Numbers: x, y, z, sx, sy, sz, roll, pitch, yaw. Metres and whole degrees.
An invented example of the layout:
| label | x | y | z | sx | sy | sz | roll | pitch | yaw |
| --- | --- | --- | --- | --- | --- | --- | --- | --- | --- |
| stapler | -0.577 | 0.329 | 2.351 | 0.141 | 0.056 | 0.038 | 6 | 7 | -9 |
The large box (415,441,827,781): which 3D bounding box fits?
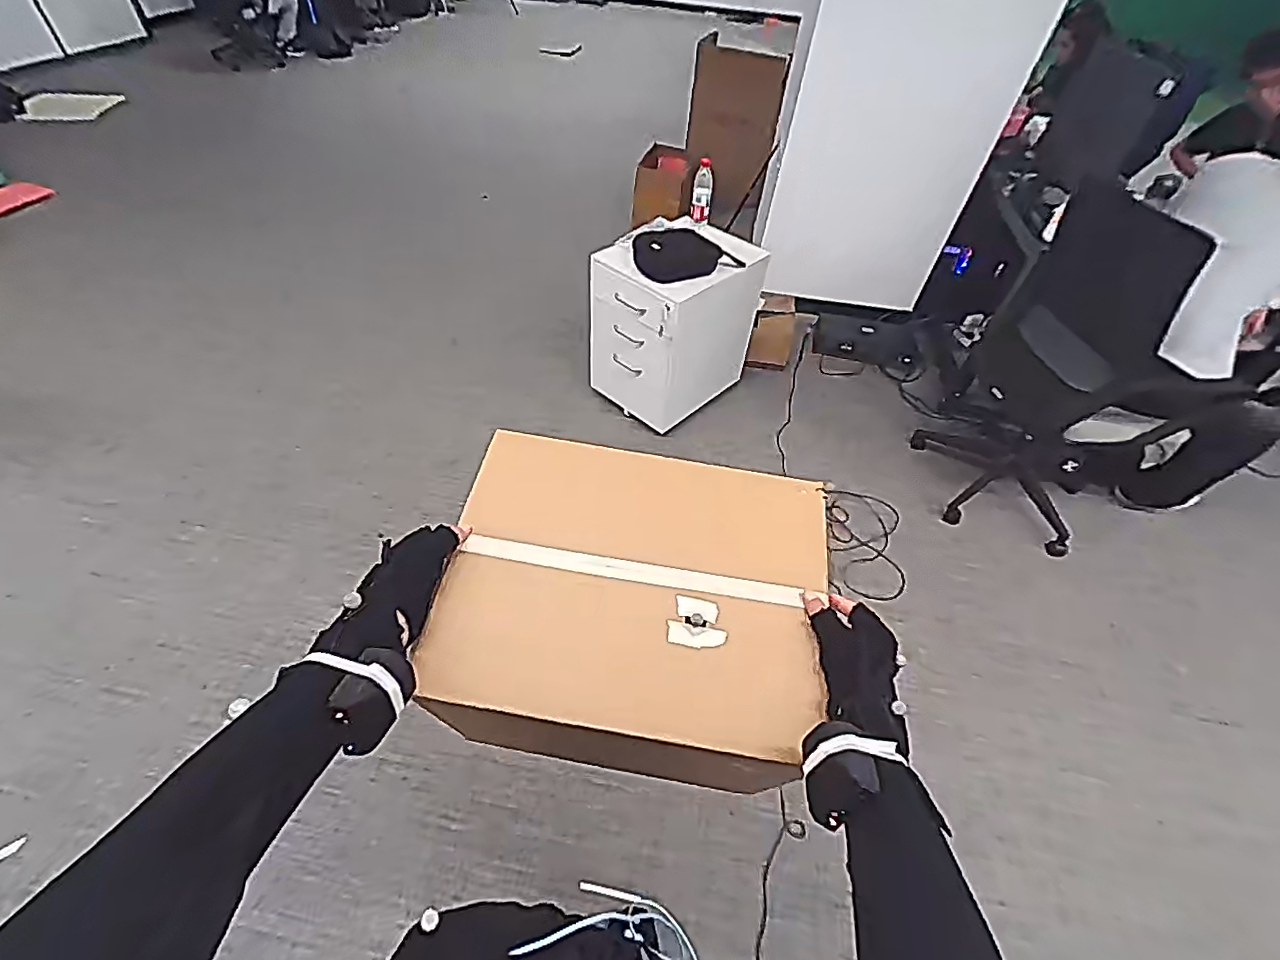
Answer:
| label | x | y | z | sx | sy | sz | roll | pitch | yaw |
| --- | --- | --- | --- | --- | --- | --- | --- | --- | --- |
| large box | -0.012 | 0.185 | 0.715 | 0.408 | 0.320 | 0.320 | 9 | 57 | 1 |
